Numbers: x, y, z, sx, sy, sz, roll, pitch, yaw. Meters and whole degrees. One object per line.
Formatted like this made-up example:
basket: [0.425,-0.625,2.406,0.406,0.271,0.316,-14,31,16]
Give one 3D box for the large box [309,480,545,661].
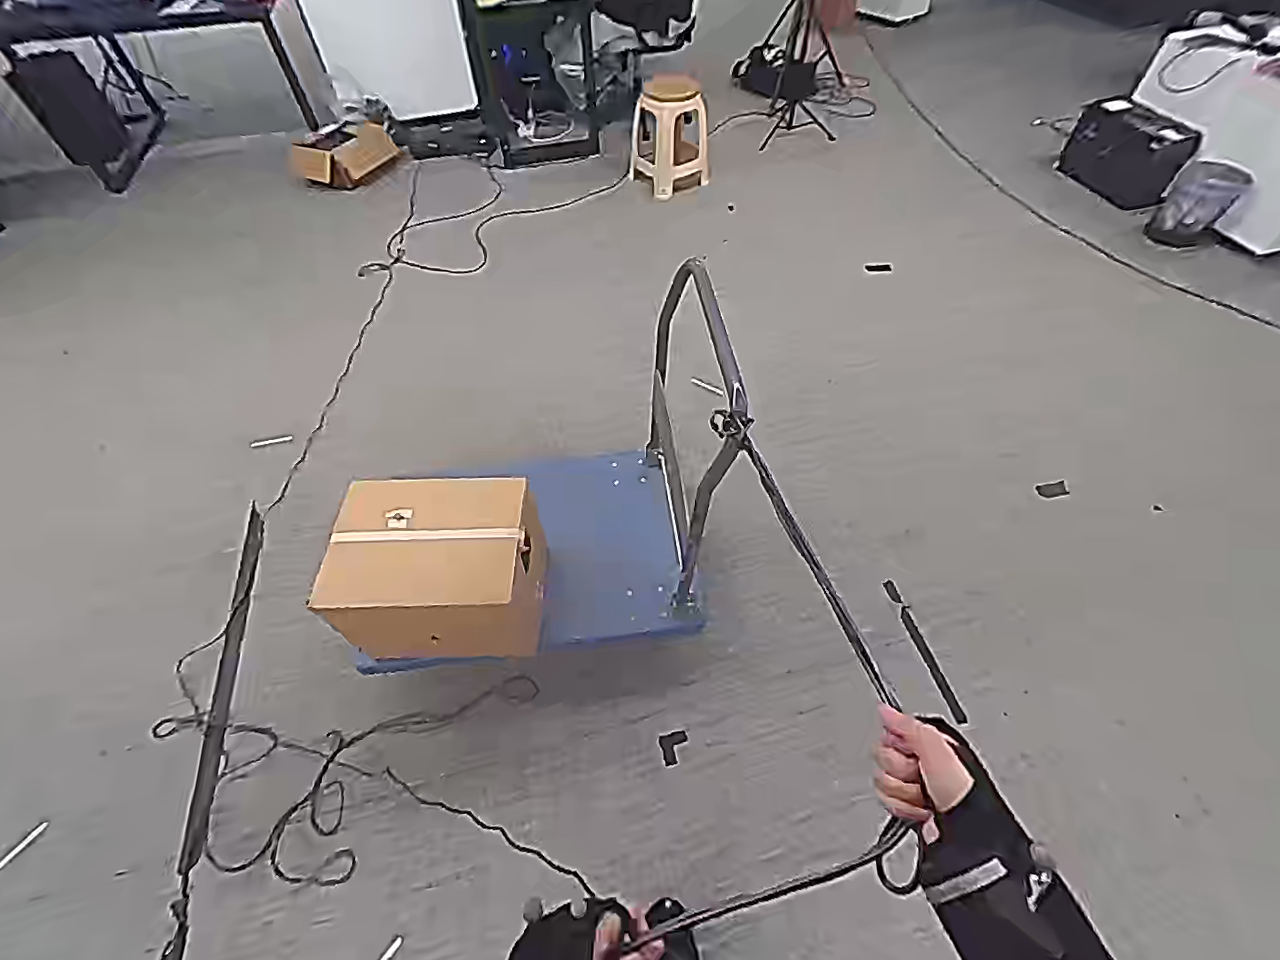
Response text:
large box: [-0.448,0.219,1.260,0.408,0.320,0.320,-2,53,0]
